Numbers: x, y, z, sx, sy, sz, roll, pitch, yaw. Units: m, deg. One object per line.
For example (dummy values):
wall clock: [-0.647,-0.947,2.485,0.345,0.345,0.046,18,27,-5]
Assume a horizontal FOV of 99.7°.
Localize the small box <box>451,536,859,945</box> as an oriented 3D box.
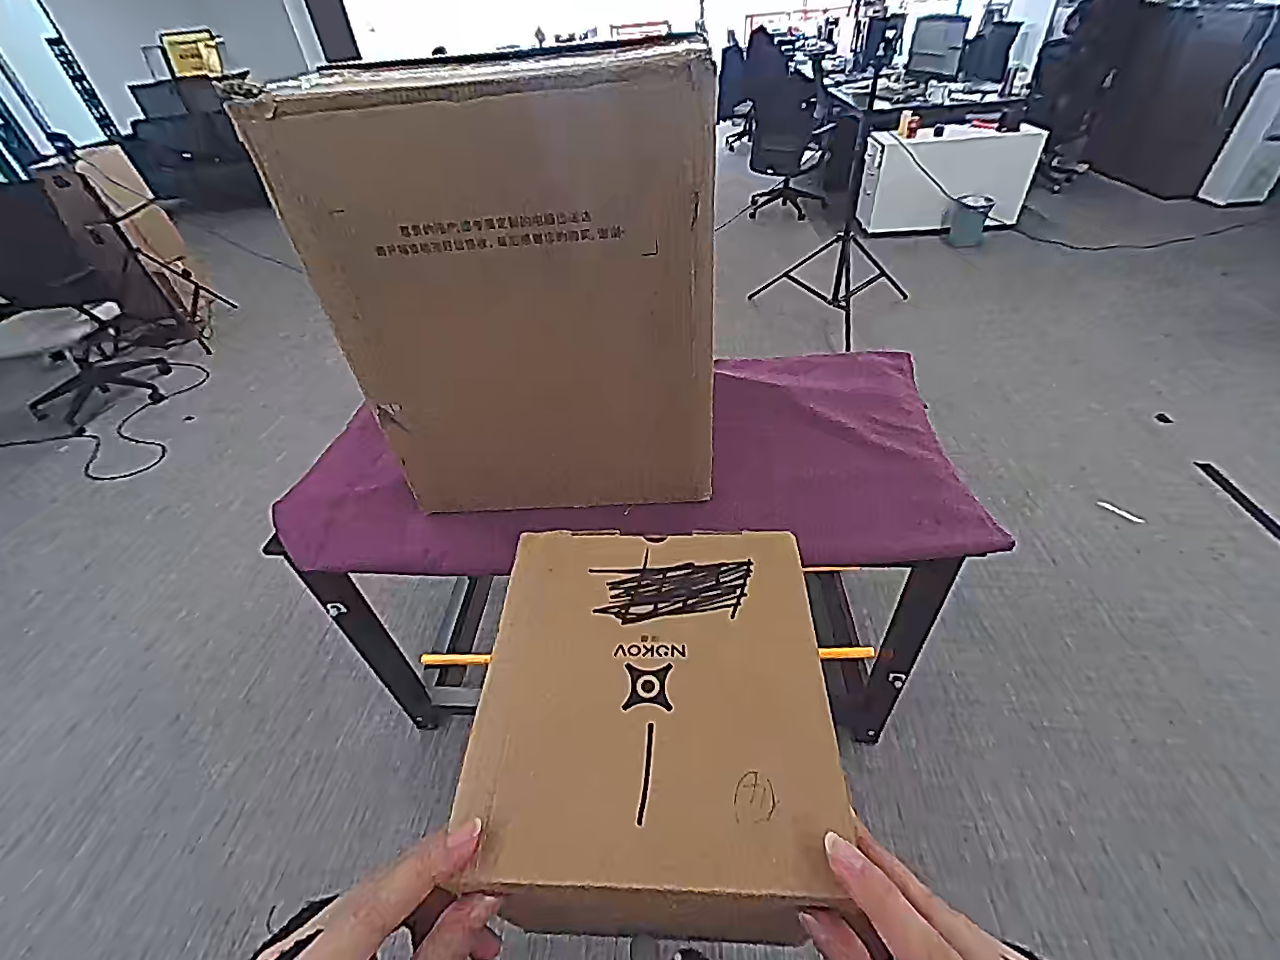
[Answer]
small box: [0.012,0.153,0.327,0.168,0.176,0.179,-1,45,5]
